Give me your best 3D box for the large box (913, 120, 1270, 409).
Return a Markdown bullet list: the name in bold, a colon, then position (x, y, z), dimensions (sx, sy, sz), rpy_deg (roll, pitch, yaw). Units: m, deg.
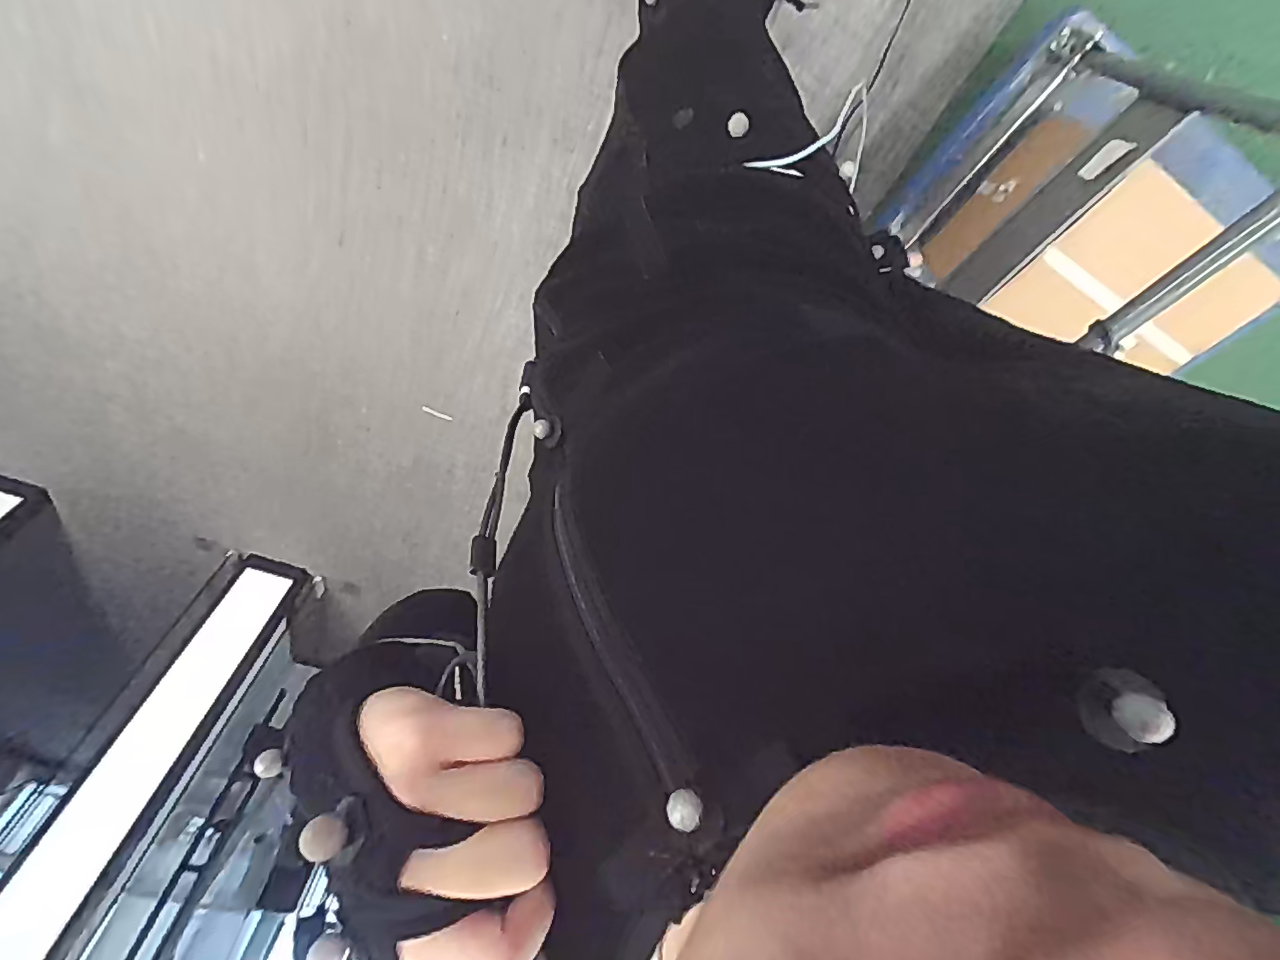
- **large box**: position (0.835, -0.414, 1.062), dimensions (0.408, 0.320, 0.320), rpy_deg (24, 133, -17)
